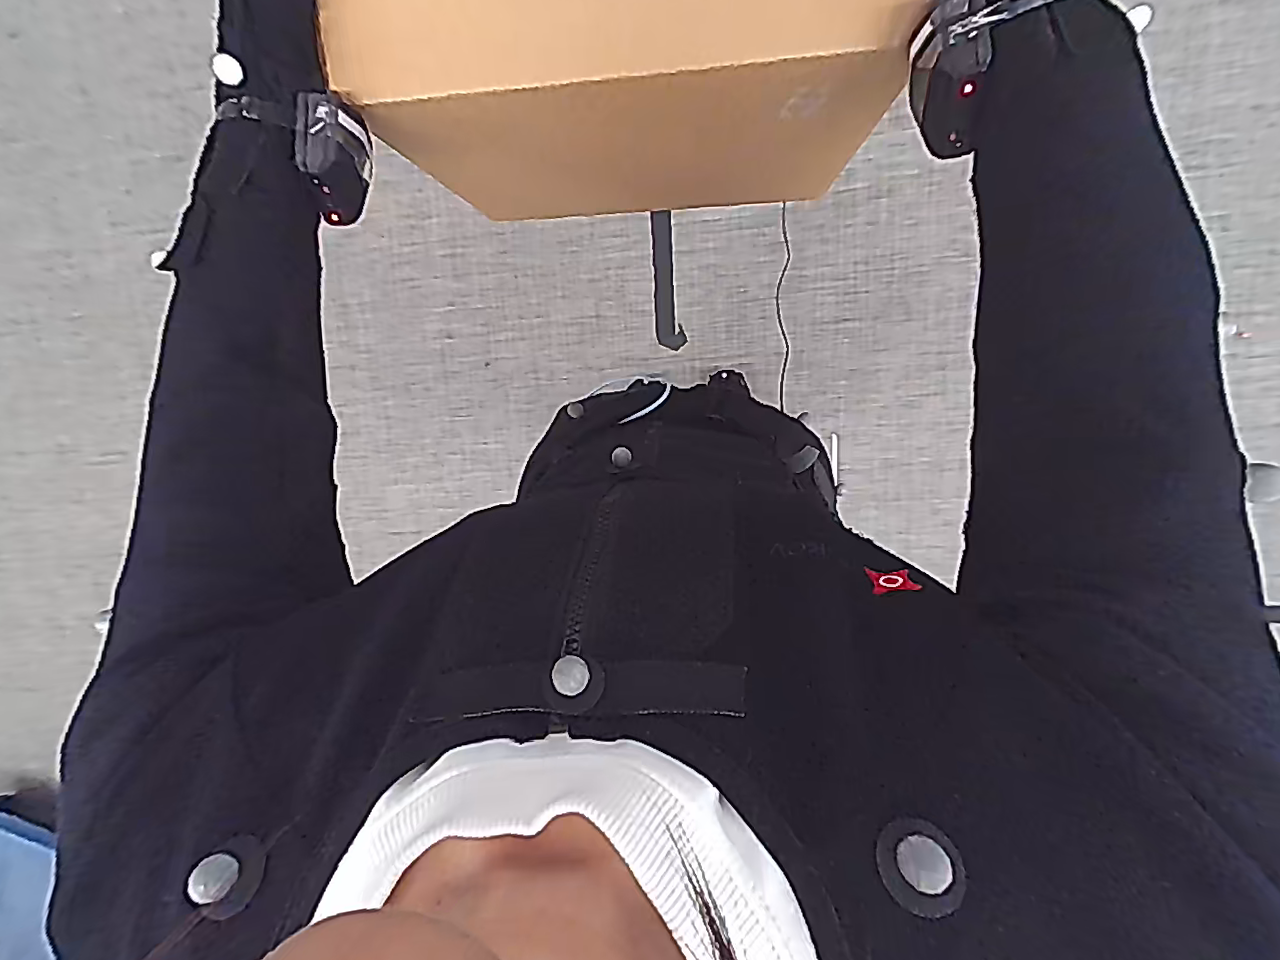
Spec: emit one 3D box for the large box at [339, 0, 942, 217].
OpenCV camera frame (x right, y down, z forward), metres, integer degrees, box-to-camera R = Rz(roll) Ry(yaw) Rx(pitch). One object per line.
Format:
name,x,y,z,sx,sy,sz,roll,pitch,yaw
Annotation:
large box,-0.004,-0.454,0.480,0.408,0.320,0.320,-2,102,5
